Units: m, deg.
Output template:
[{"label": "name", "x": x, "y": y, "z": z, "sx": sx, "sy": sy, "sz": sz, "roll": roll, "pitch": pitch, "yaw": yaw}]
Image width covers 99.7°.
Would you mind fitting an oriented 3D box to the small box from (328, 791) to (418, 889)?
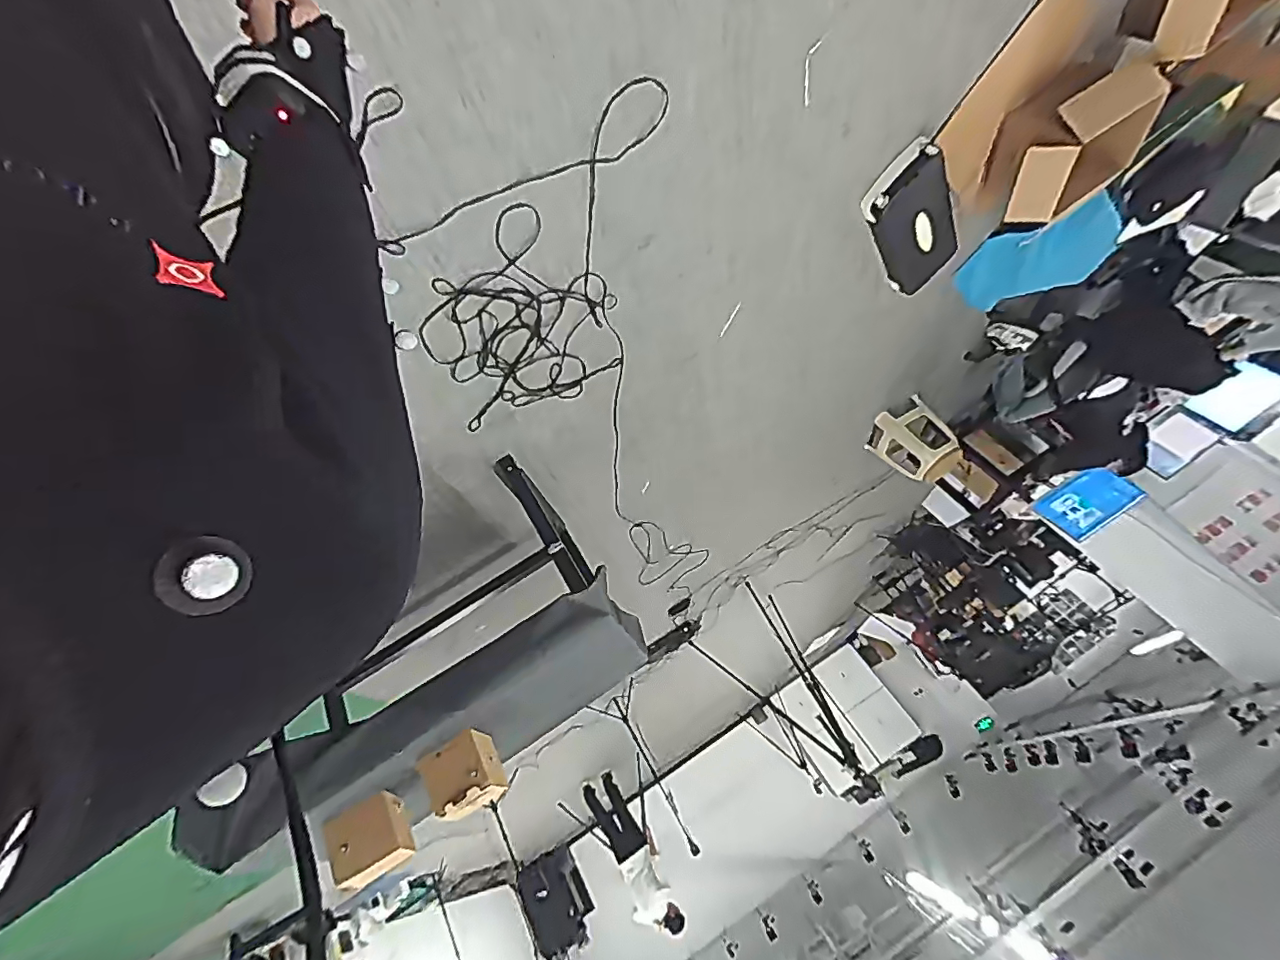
[{"label": "small box", "x": -0.778, "y": 1.044, "z": 1.568, "sx": 0.179, "sy": 0.176, "sz": 0.168, "roll": -26, "pitch": 148, "yaw": -19}]
